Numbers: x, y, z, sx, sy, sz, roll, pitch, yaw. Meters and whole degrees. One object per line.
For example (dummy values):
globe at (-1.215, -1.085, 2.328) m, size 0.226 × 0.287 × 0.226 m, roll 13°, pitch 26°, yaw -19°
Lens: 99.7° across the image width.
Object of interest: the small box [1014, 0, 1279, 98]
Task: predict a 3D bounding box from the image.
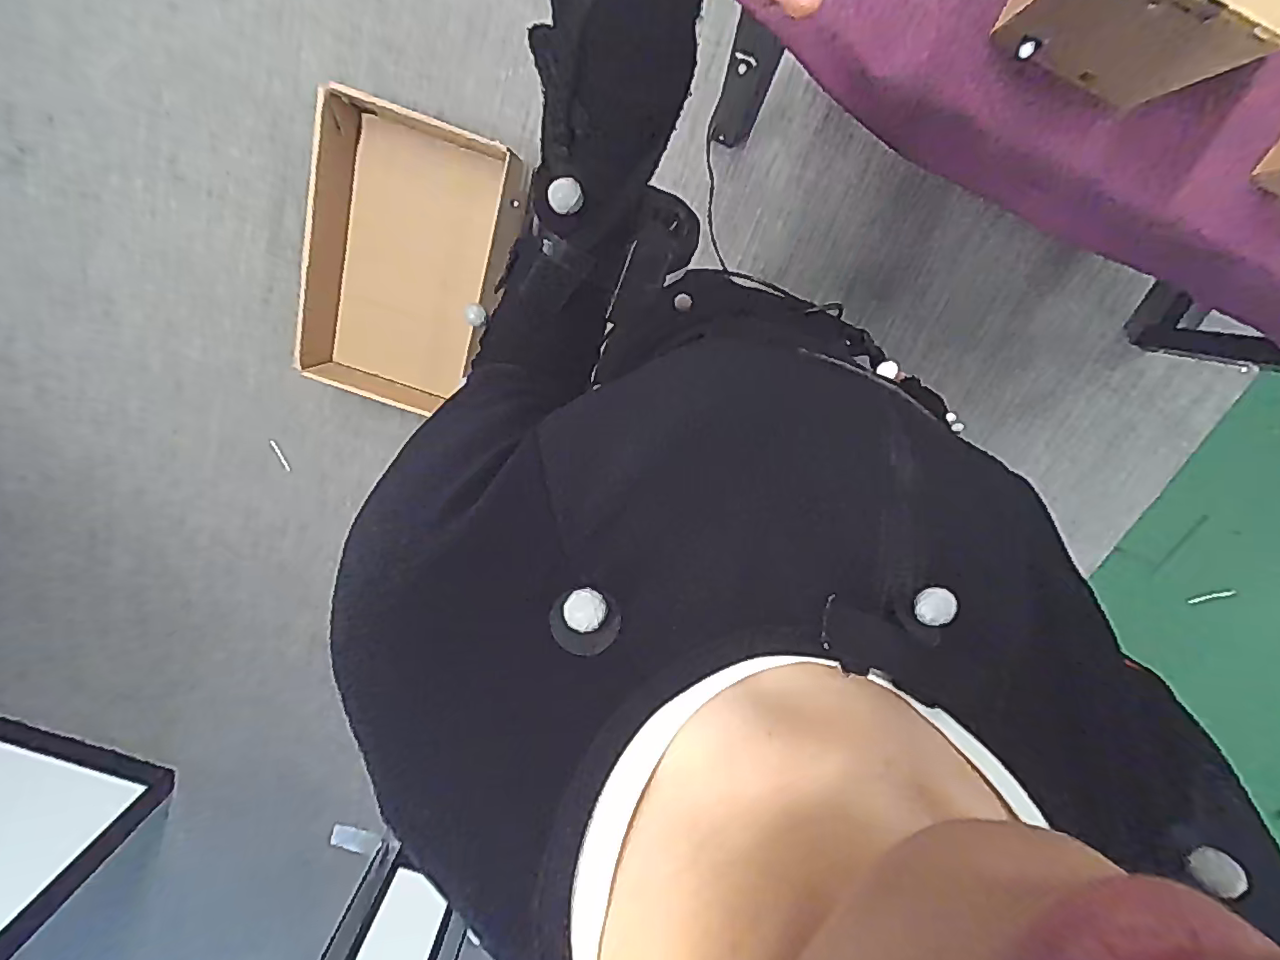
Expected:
small box at (0.458, -0.461, 0.445) m, size 0.168 × 0.176 × 0.179 m, roll 25°, pitch 110°, yaw -5°
